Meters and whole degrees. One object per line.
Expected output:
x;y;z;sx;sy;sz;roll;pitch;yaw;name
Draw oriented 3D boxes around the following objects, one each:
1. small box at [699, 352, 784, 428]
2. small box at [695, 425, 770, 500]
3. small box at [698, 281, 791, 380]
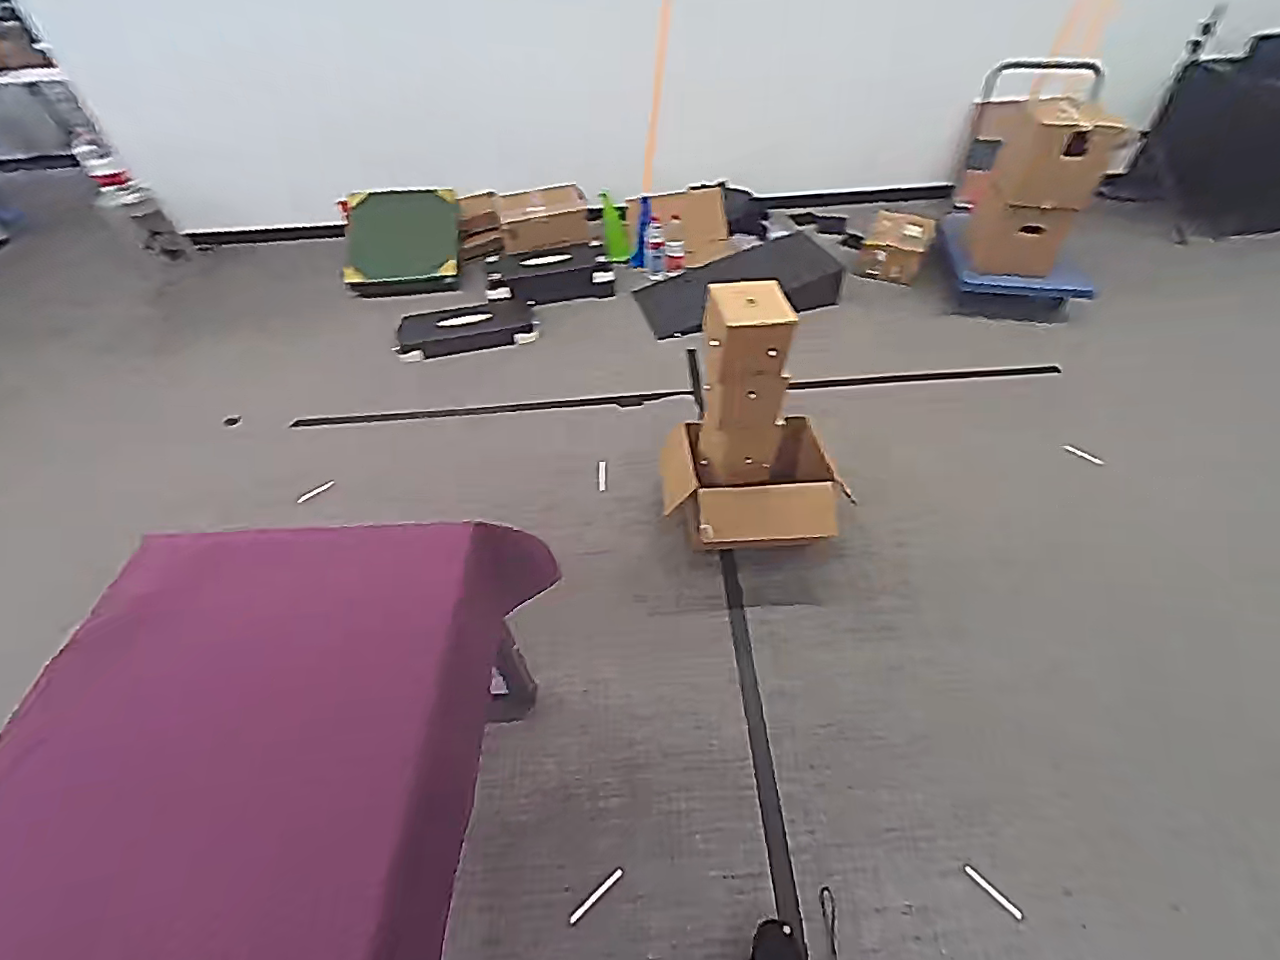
0.260;-0.255;1.439;0.179;0.176;0.168;-7;52;-7;small box
0.283;-0.062;1.707;0.179;0.176;0.168;-18;52;-17;small box
0.245;-0.357;1.312;0.168;0.176;0.179;-6;50;-7;small box
